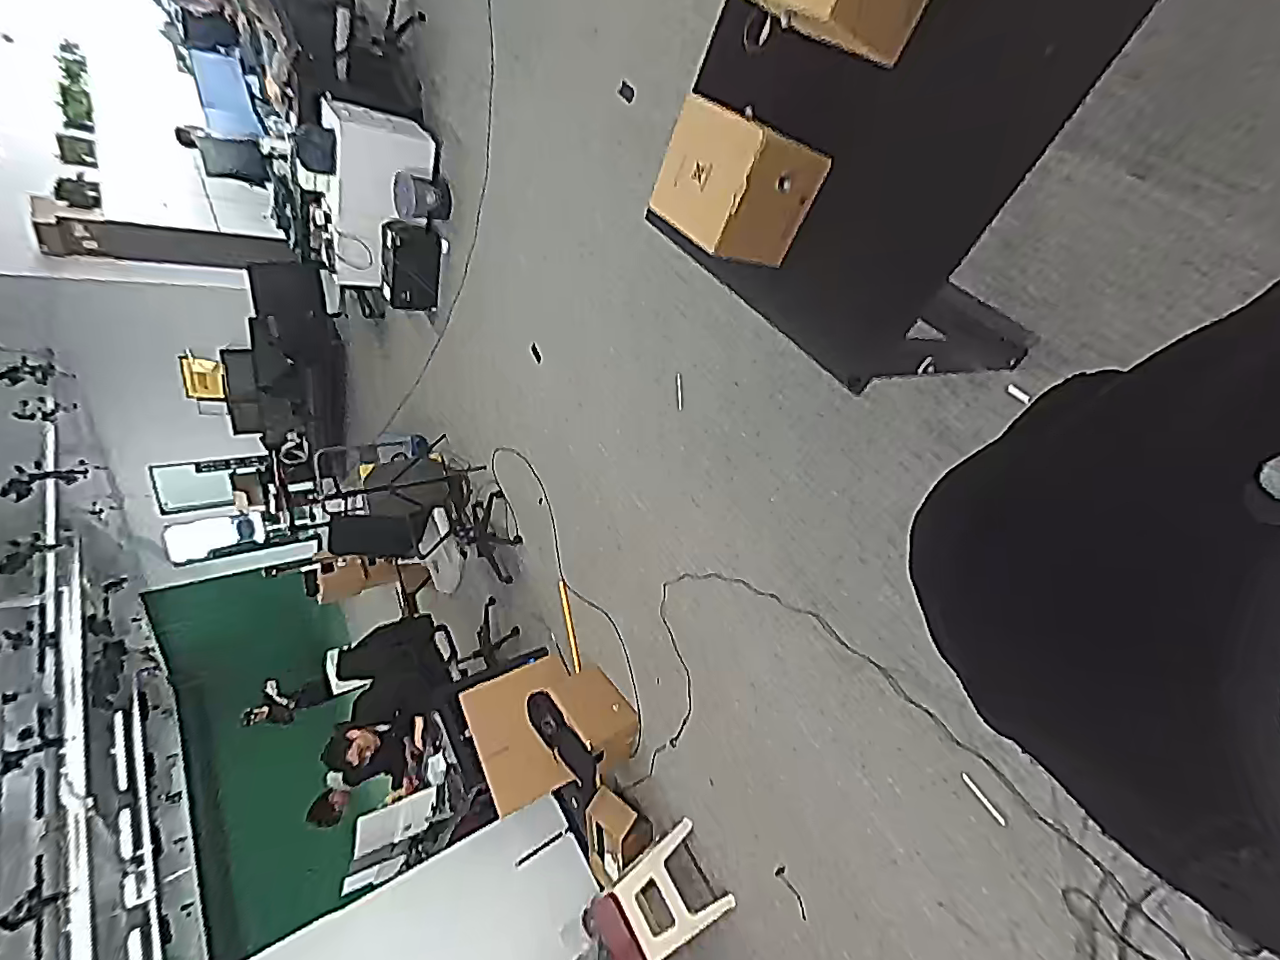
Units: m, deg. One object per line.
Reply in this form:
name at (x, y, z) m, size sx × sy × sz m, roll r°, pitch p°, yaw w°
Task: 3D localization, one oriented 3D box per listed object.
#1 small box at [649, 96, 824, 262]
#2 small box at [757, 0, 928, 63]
small box at (0.151, -0.461, 0.849) m, size 0.179 × 0.176 × 0.168 m, roll 51°, pitch 132°, yaw 31°
small box at (0.259, -0.658, 0.671) m, size 0.179 × 0.176 × 0.168 m, roll 51°, pitch 134°, yaw 29°
